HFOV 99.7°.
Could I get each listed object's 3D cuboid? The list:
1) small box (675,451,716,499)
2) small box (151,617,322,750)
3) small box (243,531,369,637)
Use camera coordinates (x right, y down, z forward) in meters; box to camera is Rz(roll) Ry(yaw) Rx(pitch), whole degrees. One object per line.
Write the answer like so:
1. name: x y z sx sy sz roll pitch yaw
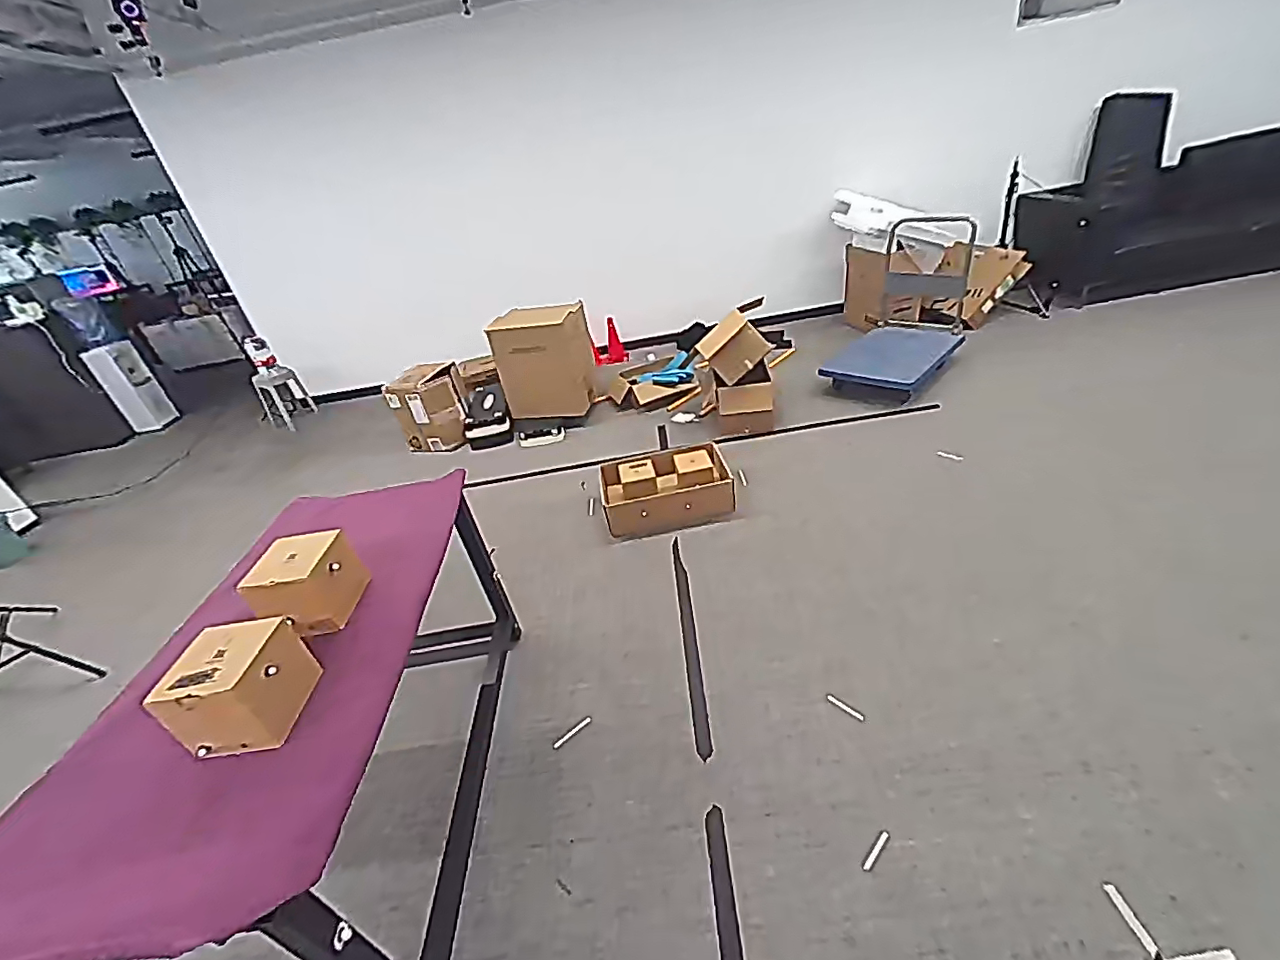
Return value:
1. small box: 0.274 -0.018 2.659 0.168 0.176 0.179 -11 31 0
2. small box: -0.754 0.394 1.037 0.168 0.176 0.179 -9 31 3
3. small box: -0.775 0.247 1.281 0.168 0.176 0.179 -9 32 3
